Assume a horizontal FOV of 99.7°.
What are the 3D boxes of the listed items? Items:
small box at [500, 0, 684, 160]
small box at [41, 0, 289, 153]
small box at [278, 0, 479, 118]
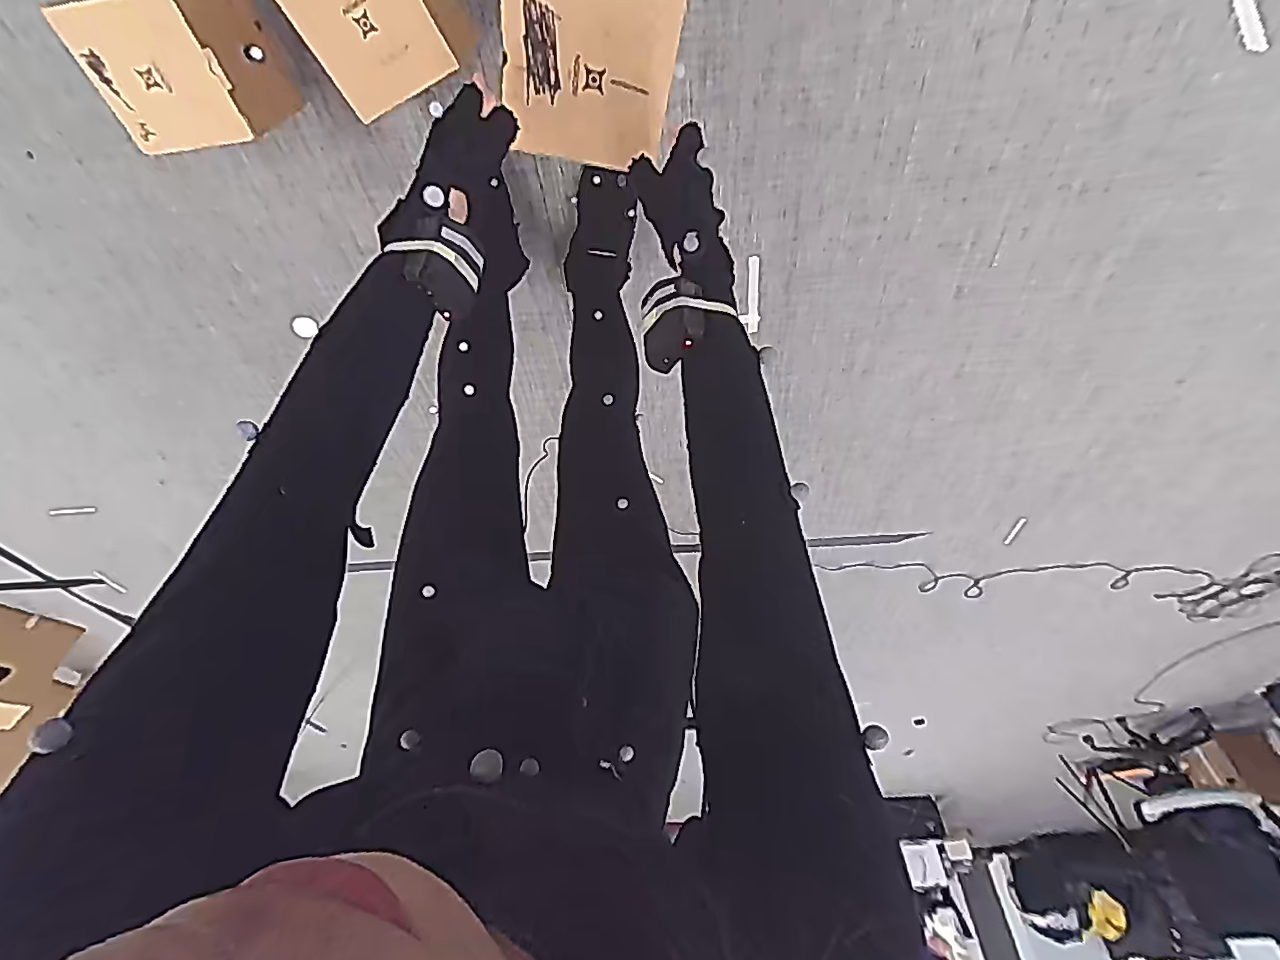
[{"bbox_3d":[-0.051,-0.495,0.603,0.179,0.176,0.168,9,141,-7],"label":"small box"},{"bbox_3d":[-0.632,-0.586,0.756,0.179,0.176,0.168,-5,138,5],"label":"small box"},{"bbox_3d":[-0.341,-0.628,0.712,0.168,0.176,0.179,-16,137,18],"label":"small box"}]
